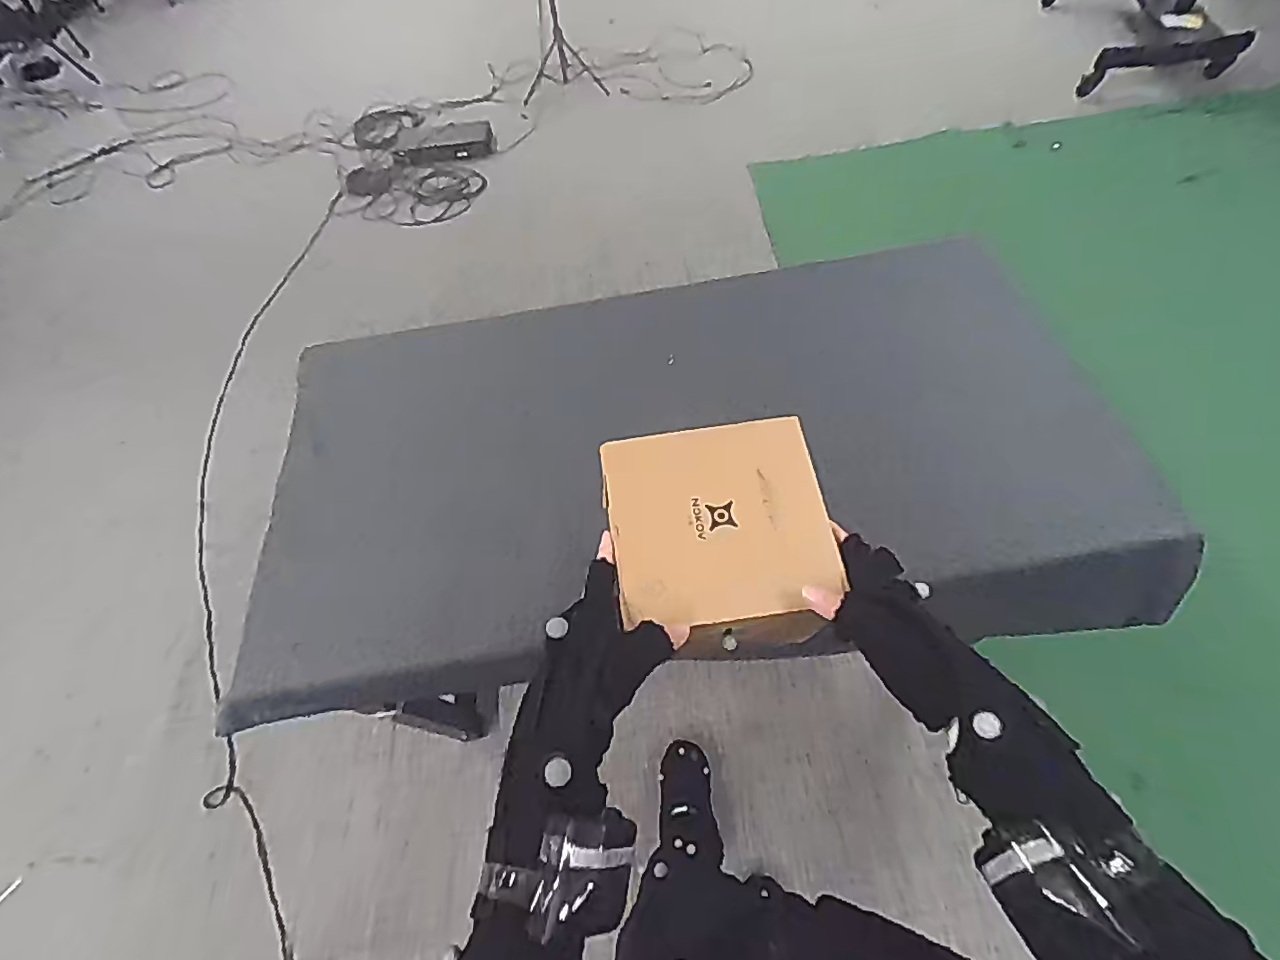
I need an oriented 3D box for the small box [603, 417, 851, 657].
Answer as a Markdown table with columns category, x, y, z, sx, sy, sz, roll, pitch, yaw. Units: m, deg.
| category | x | y | z | sx | sy | sz | roll | pitch | yaw |
| --- | --- | --- | --- | --- | --- | --- | --- | --- | --- |
| small box | 0.068 | 0.064 | 0.513 | 0.179 | 0.176 | 0.168 | -9 | 65 | -2 |
